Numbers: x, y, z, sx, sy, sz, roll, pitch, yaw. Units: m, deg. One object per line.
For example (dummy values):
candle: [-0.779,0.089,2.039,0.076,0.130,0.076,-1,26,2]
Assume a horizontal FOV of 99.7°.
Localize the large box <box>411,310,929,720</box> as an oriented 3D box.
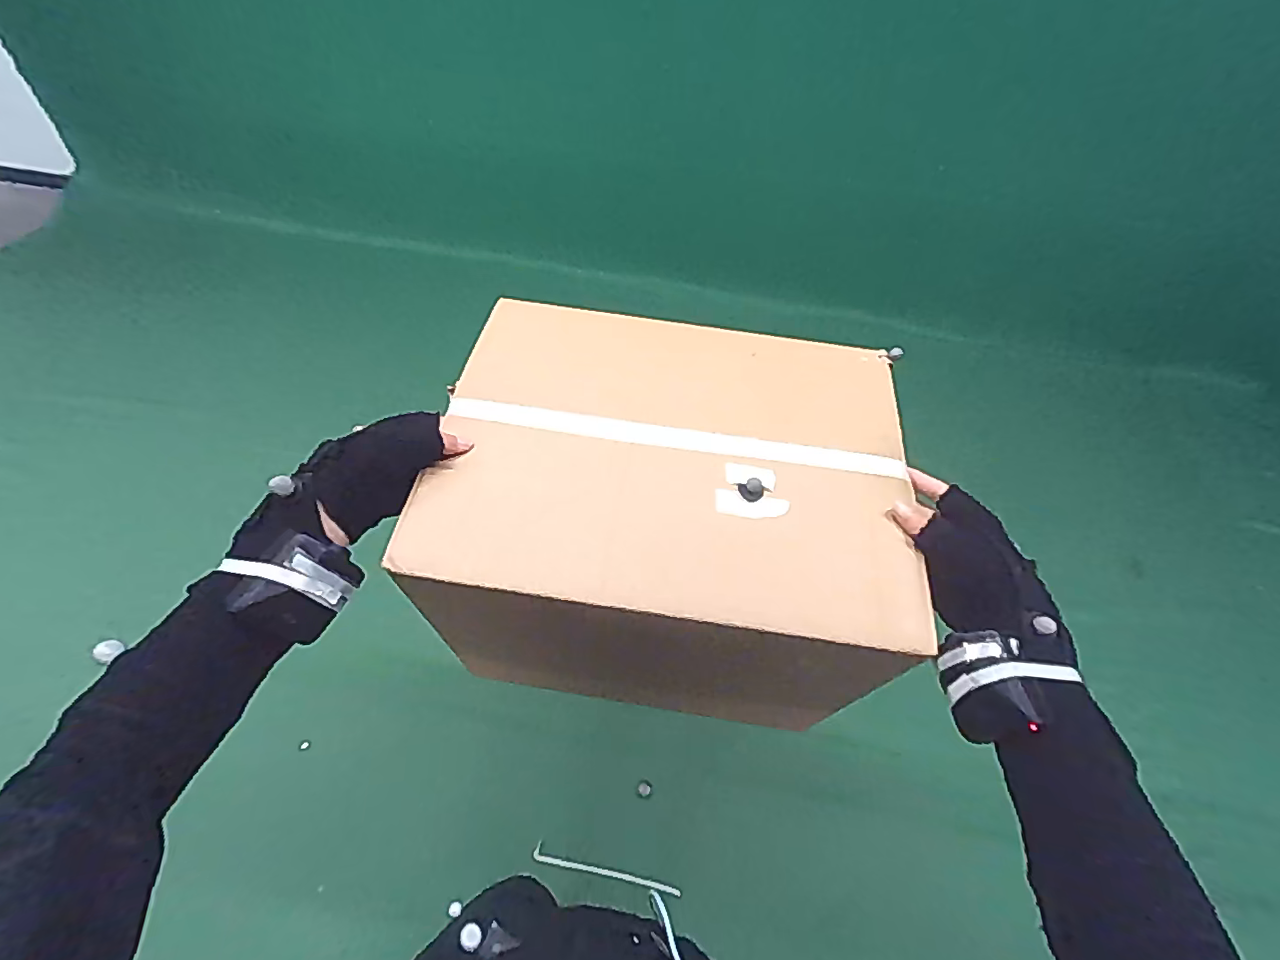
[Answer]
large box: [0.028,0.053,0.610,0.408,0.320,0.320,9,56,1]
